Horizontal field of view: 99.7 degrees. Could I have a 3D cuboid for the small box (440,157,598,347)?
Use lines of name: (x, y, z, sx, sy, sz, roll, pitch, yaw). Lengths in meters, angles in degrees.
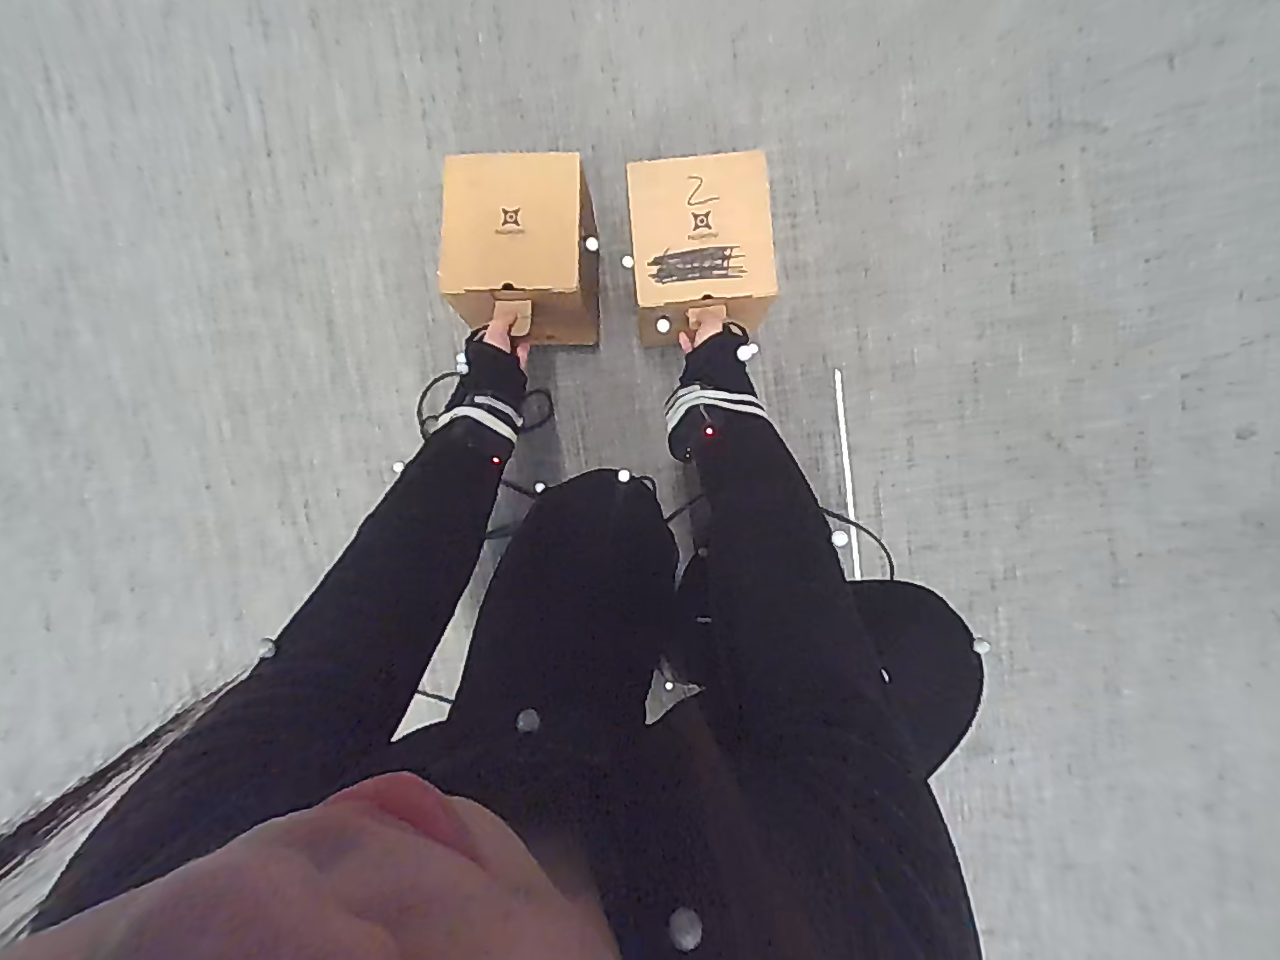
small box: (-0.149, -0.294, 0.723, 0.168, 0.176, 0.179, 2, 84, 2)
